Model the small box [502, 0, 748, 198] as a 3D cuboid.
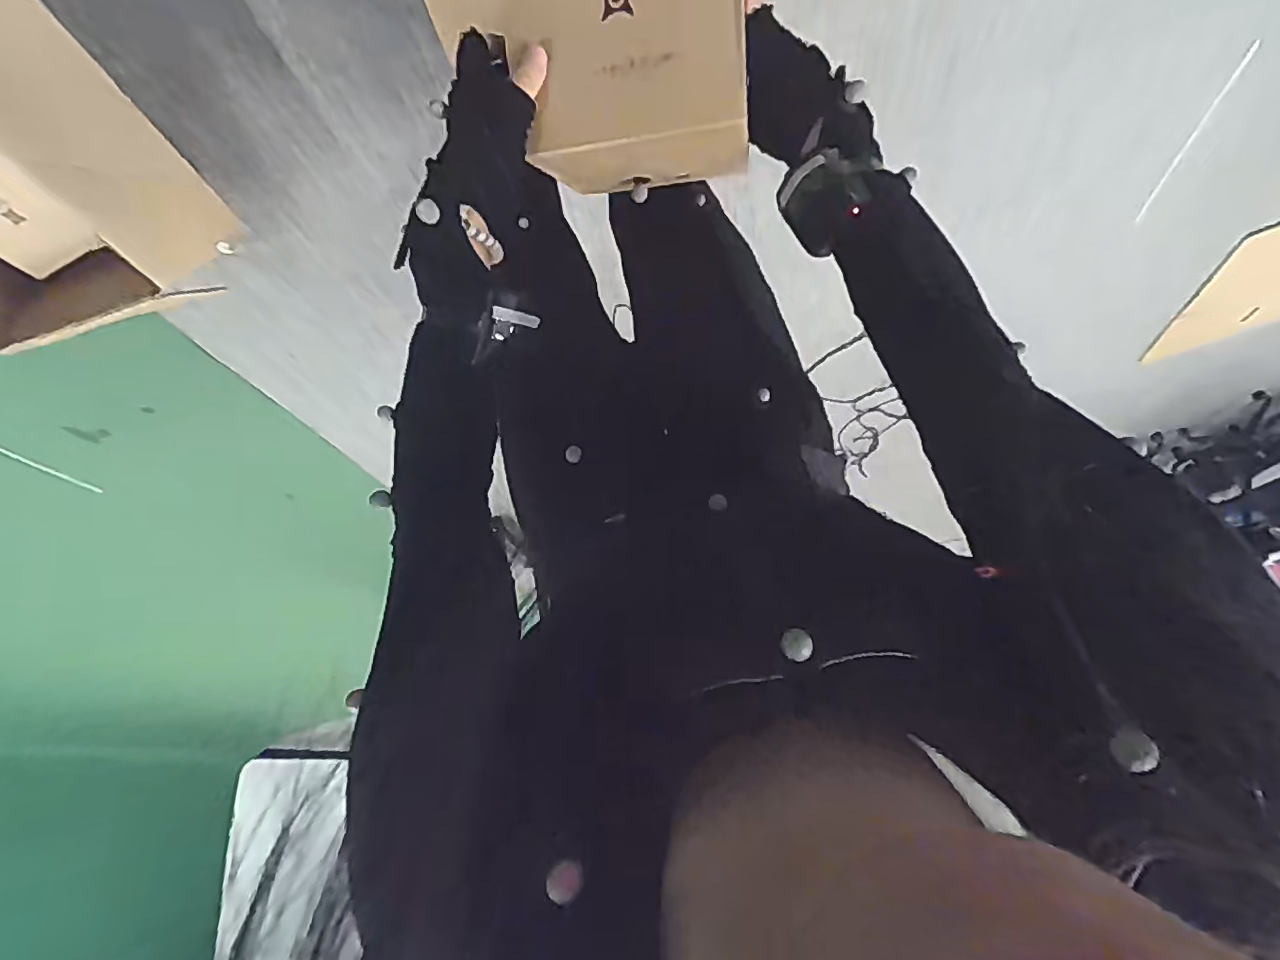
[{"bbox_3d":[0.000,-0.350,0.439,0.168,0.179,0.176,-2,-163,14],"label":"small box"}]
